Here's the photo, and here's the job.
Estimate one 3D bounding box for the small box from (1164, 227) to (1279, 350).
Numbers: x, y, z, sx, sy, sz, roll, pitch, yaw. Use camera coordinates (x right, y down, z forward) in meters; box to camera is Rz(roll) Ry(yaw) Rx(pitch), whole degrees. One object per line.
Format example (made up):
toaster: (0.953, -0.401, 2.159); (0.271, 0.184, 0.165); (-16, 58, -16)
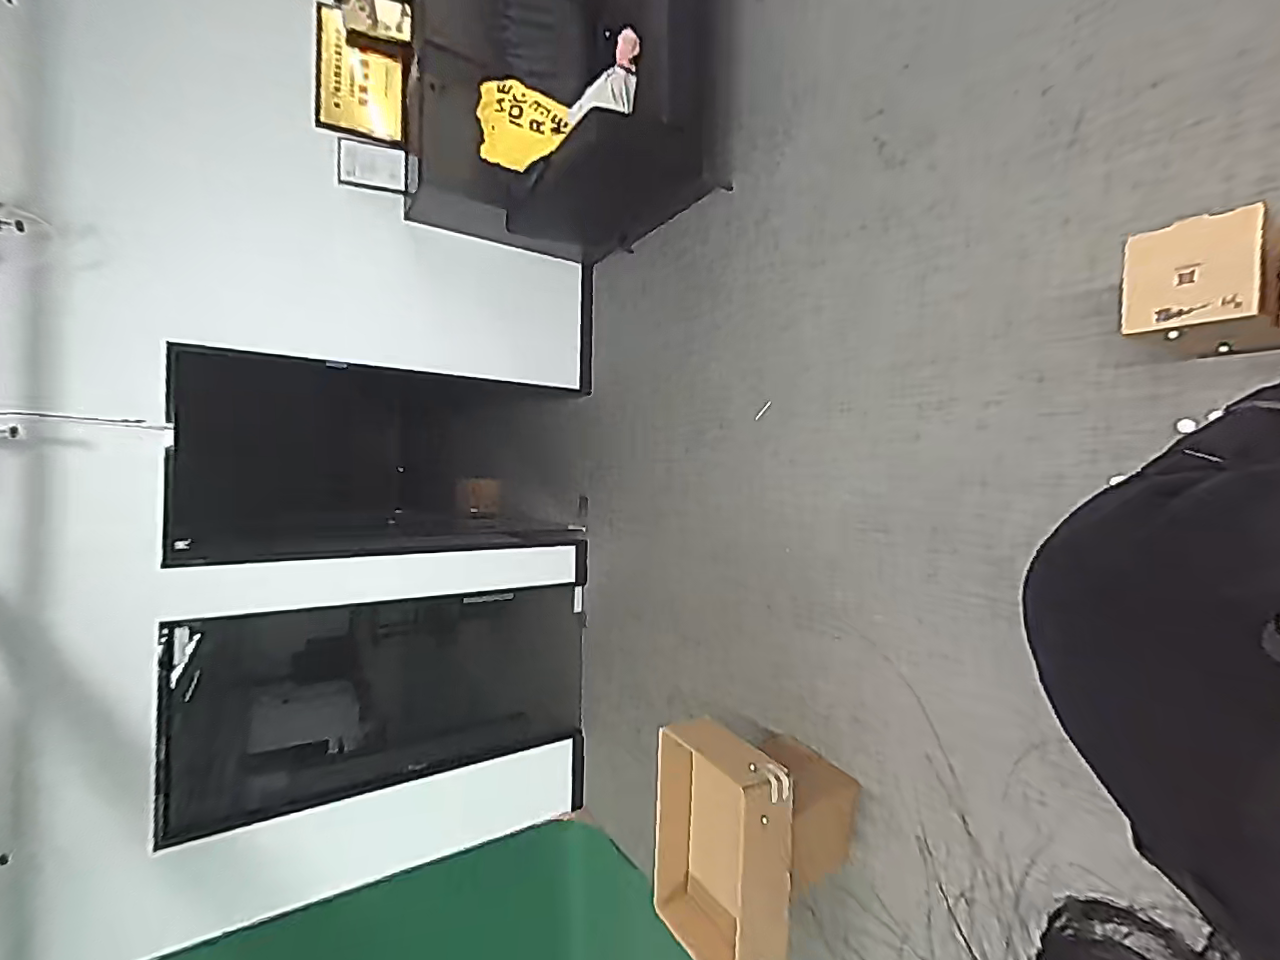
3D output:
small box: (1.119, -0.347, 1.002); (0.179, 0.176, 0.168); (1, 89, 59)
